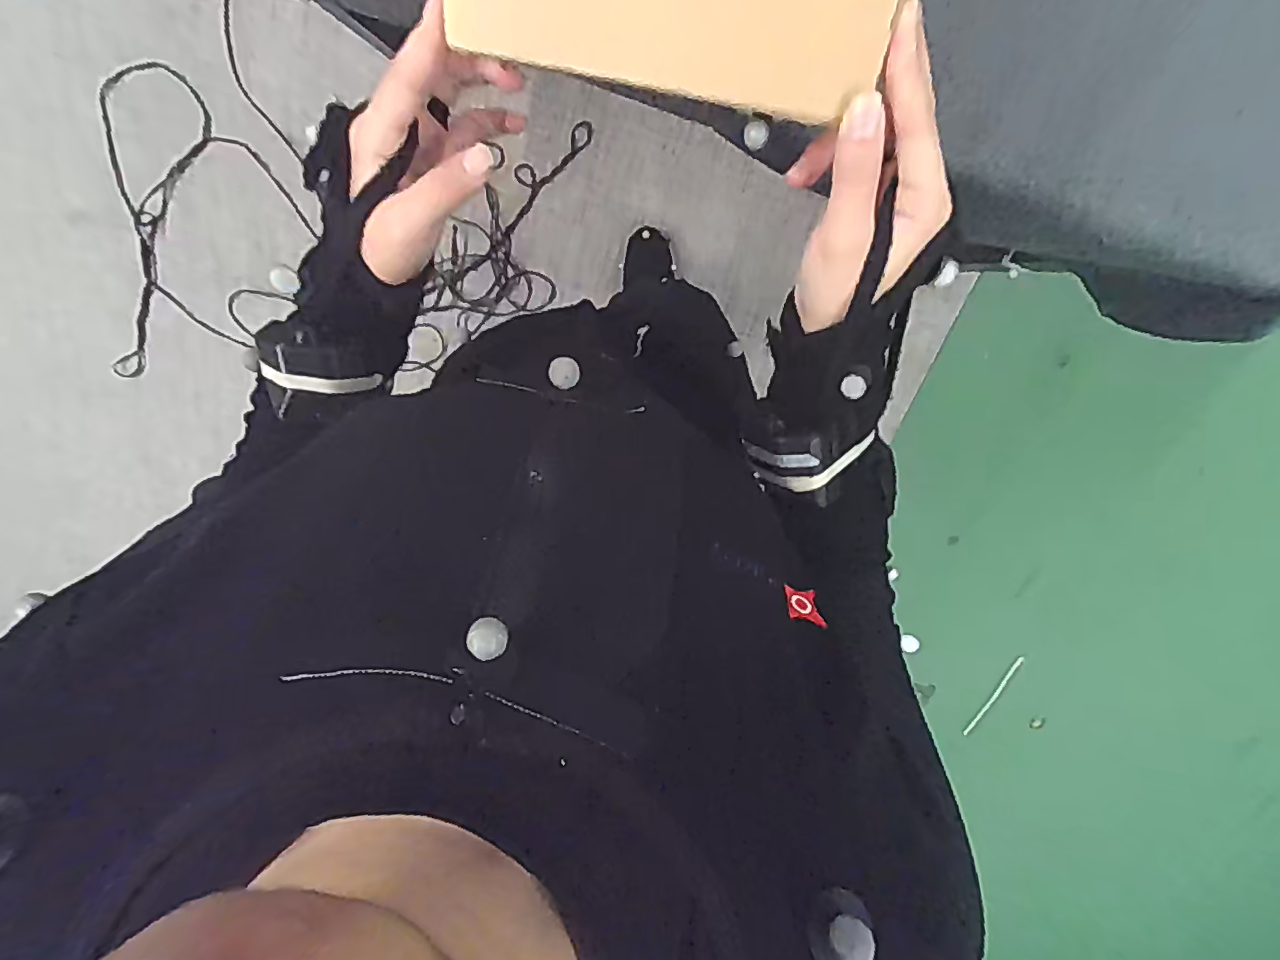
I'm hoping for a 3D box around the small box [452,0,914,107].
[{"bbox_3d":[0.029,-0.275,0.237,0.179,0.176,0.168,9,125,-2],"label":"small box"}]
